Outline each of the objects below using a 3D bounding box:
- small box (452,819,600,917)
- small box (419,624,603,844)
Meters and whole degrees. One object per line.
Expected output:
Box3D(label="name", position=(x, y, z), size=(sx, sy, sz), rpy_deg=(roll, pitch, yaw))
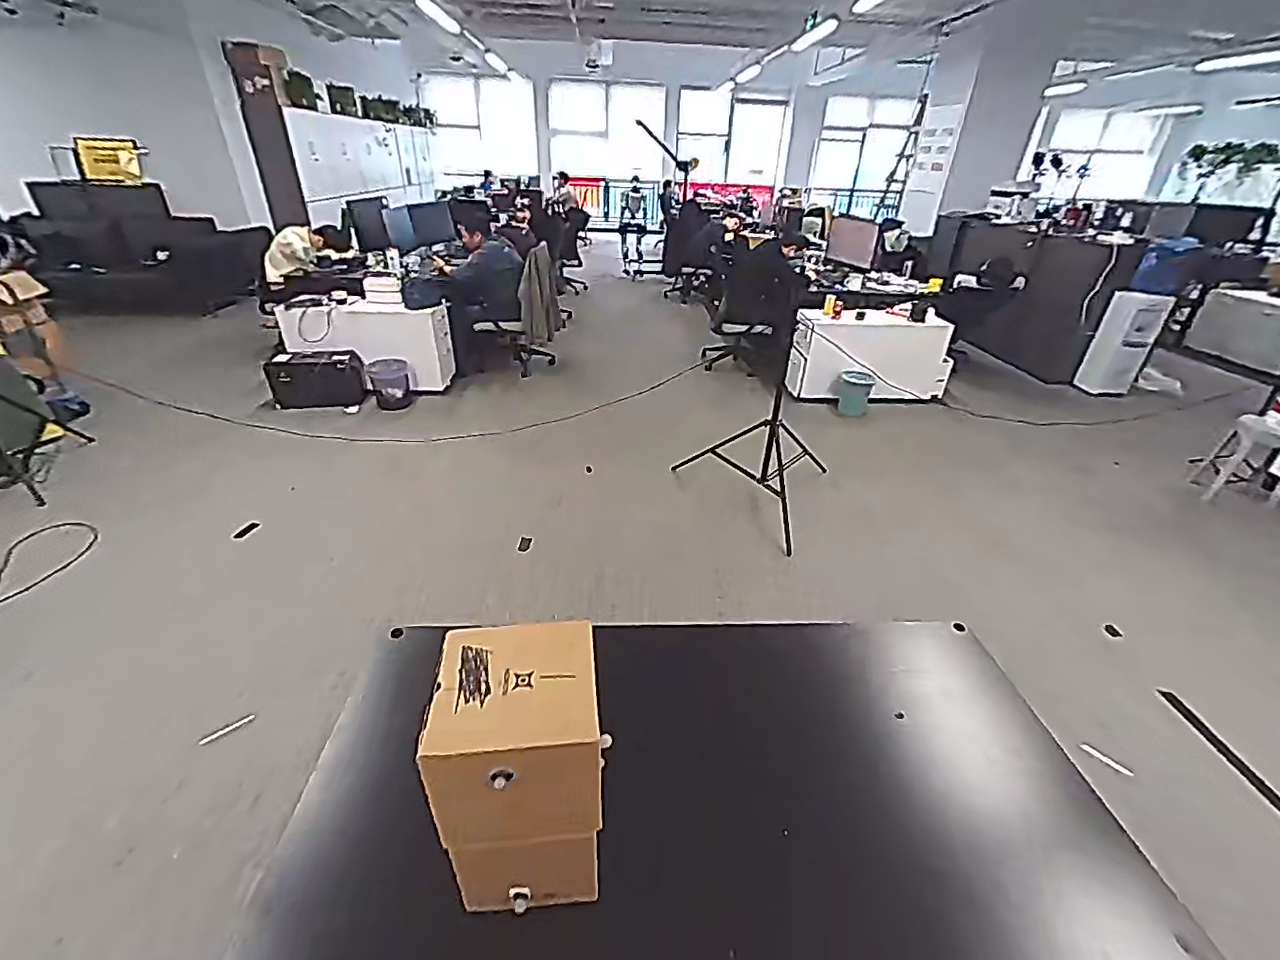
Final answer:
Box3D(label="small box", position=(-0.140, 0.433, 0.718), size=(0.168, 0.176, 0.179), rpy_deg=(-3, 32, -6))
Box3D(label="small box", position=(-0.136, 0.293, 0.631), size=(0.179, 0.176, 0.168), rpy_deg=(-2, 31, -7))
